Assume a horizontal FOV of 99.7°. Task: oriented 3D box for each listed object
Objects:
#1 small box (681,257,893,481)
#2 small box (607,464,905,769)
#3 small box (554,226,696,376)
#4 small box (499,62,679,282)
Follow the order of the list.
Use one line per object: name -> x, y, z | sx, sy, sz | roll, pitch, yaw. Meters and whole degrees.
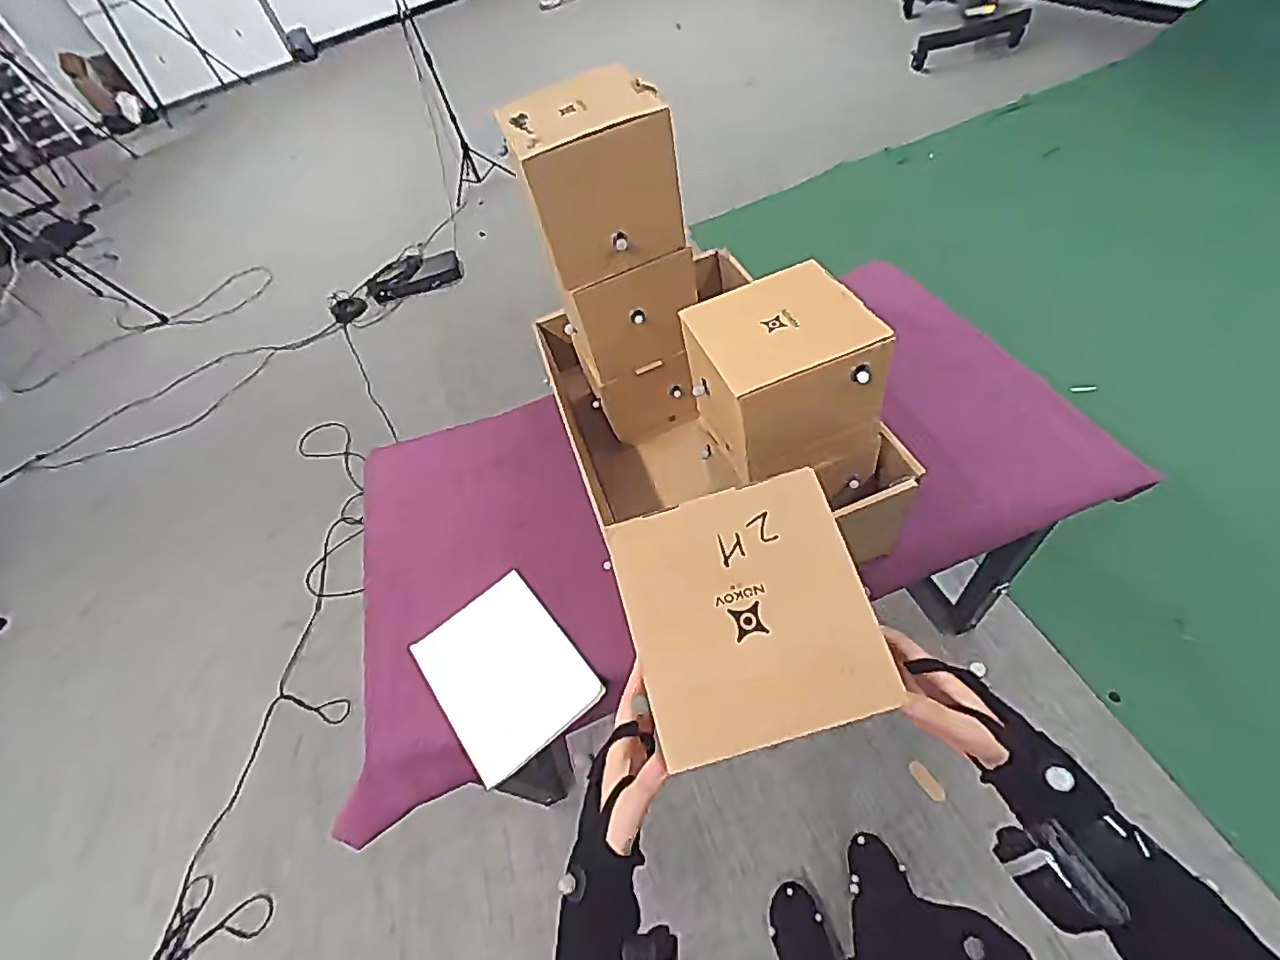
small box -> 0.167, -0.126, 0.644 | 0.179, 0.176, 0.168 | -21, 51, -3
small box -> 0.082, 0.112, 0.451 | 0.168, 0.176, 0.179 | -16, 70, 0
small box -> -0.023, -0.291, 0.817 | 0.179, 0.176, 0.168 | -24, 53, -4
small box -> -0.057, -0.387, 0.688 | 0.179, 0.176, 0.168 | -21, 53, -4
